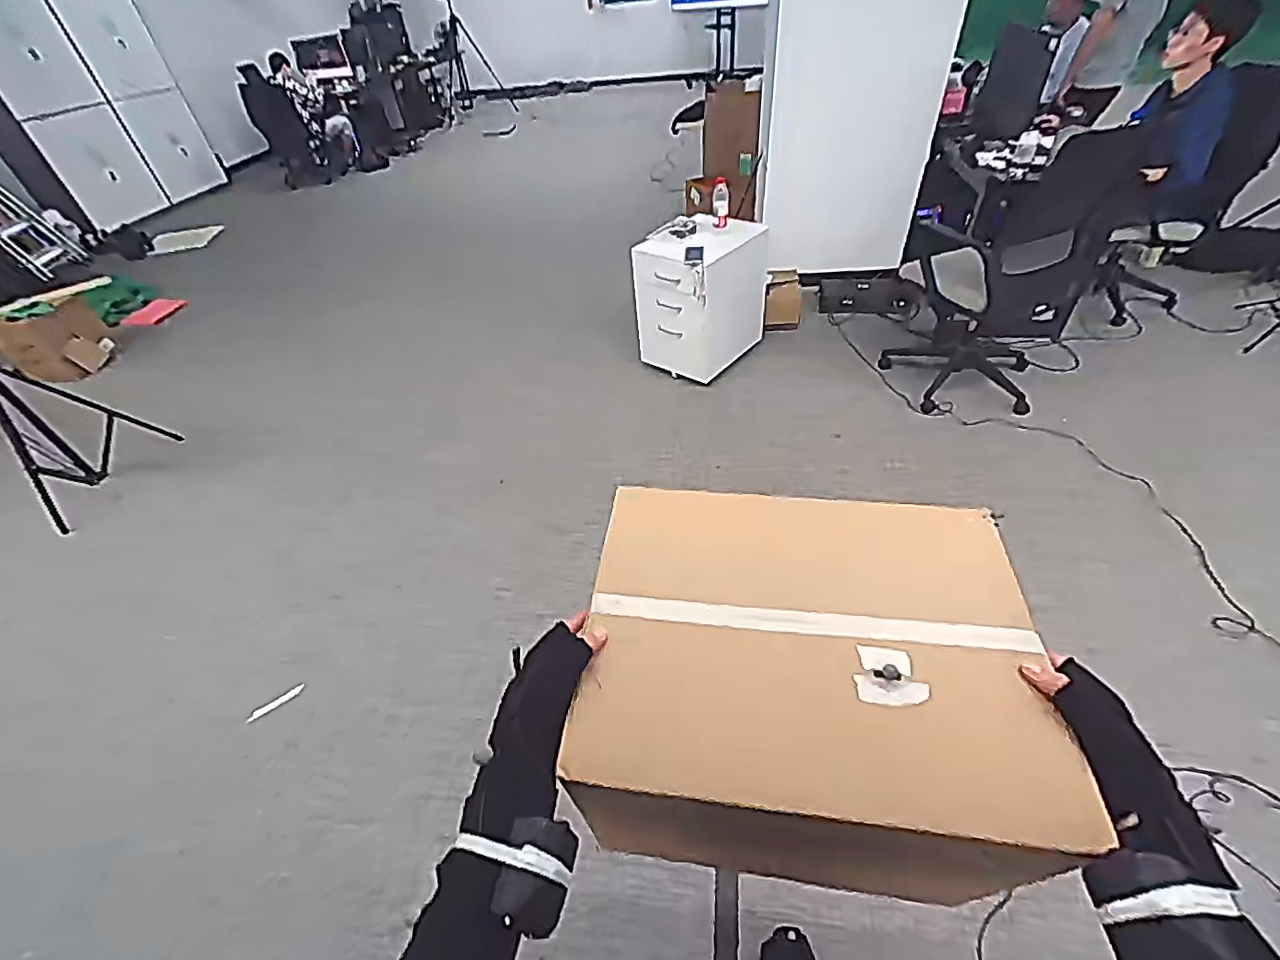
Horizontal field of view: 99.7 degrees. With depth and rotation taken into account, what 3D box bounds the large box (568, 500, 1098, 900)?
[{"bbox_3d":[0.161,0.246,0.620,0.408,0.320,0.320,4,48,8],"label":"large box"}]
